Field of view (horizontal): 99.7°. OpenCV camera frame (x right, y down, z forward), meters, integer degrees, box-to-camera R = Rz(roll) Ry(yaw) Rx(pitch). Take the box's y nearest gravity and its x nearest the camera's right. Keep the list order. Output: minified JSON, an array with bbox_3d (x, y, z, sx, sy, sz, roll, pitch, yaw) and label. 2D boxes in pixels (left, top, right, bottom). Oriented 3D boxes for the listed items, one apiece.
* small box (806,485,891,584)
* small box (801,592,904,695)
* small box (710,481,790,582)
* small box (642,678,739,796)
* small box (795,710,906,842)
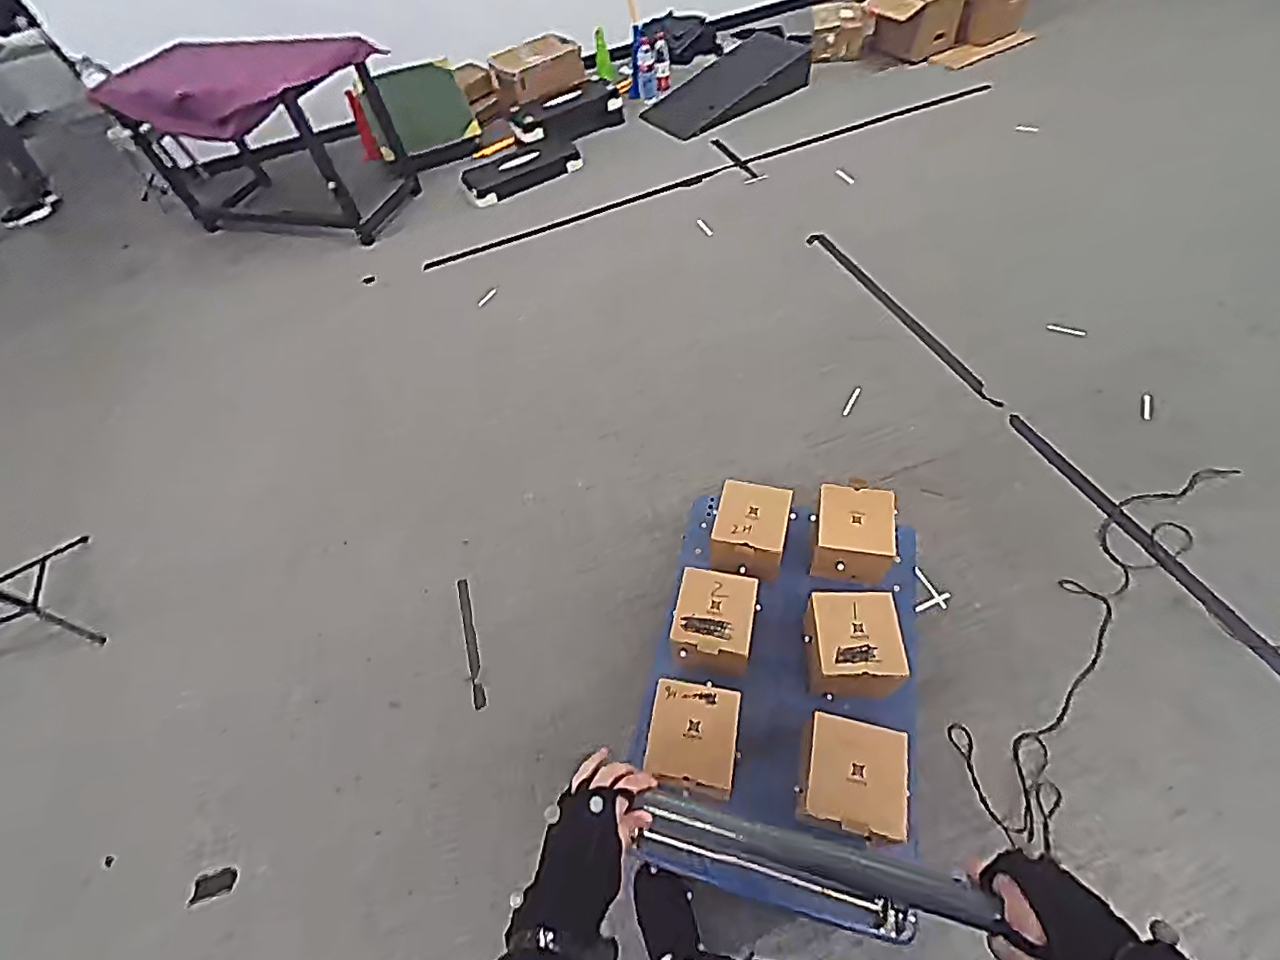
[{"bbox_3d":[0.504,0.136,1.320,0.168,0.176,0.179,6,56,12],"label":"small box"},{"bbox_3d":[0.450,0.358,1.171,0.168,0.176,0.179,-1,55,8],"label":"small box"},{"bbox_3d":[0.272,0.130,1.354,0.168,0.176,0.179,10,58,15],"label":"small box"},{"bbox_3d":[0.108,0.526,1.099,0.168,0.176,0.179,7,56,11],"label":"small box"},{"bbox_3d":[0.395,0.568,1.031,0.168,0.176,0.179,10,56,14],"label":"small box"}]
